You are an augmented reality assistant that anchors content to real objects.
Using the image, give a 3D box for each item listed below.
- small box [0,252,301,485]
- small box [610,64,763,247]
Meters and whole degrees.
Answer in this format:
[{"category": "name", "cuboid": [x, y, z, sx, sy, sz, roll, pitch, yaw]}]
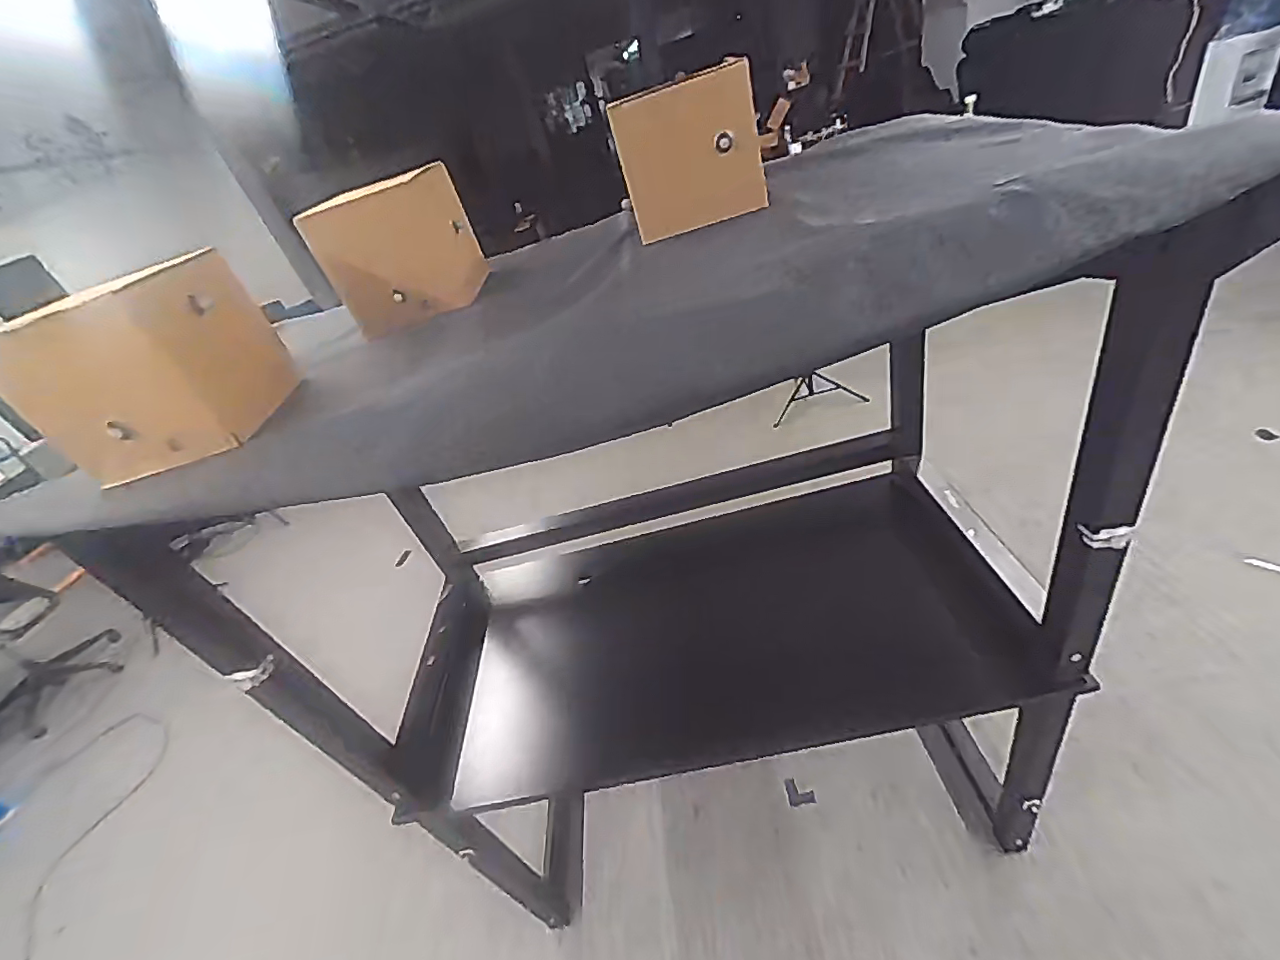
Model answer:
[{"category": "small box", "cuboid": [-0.512, -0.122, 0.585, 0.168, 0.176, 0.179, -17, 36, 4]}, {"category": "small box", "cuboid": [0.067, -0.446, 0.749, 0.179, 0.176, 0.168, -13, 34, 8]}]
